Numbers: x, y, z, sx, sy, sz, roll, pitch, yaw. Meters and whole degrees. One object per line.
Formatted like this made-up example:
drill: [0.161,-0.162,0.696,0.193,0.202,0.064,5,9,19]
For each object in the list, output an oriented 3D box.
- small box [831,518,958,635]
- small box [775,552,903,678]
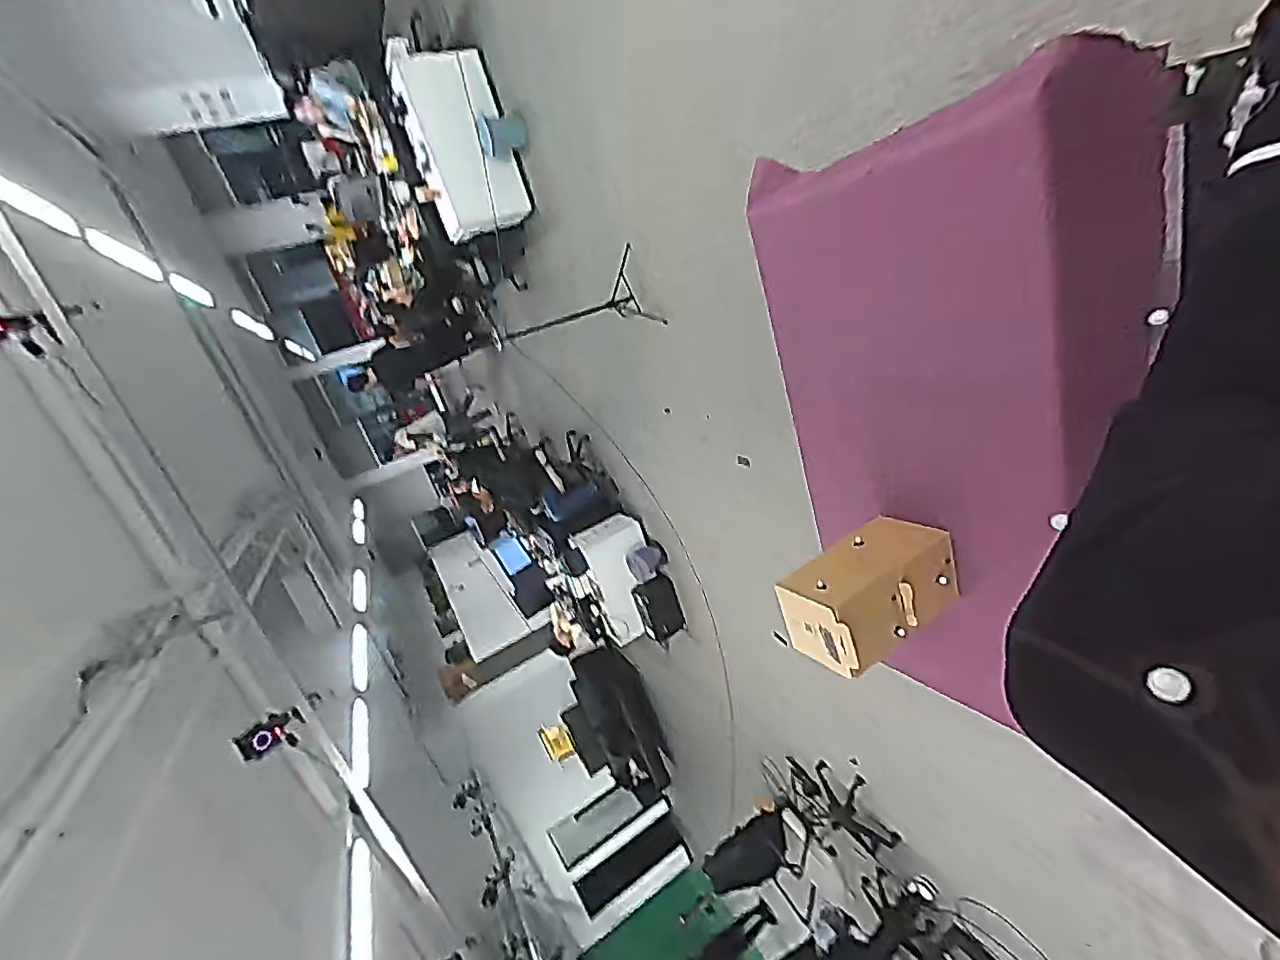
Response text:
small box: [0.555,0.199,1.181,0.179,0.176,0.168,18,131,61]
small box: [0.418,0.268,1.123,0.179,0.176,0.168,12,125,64]
